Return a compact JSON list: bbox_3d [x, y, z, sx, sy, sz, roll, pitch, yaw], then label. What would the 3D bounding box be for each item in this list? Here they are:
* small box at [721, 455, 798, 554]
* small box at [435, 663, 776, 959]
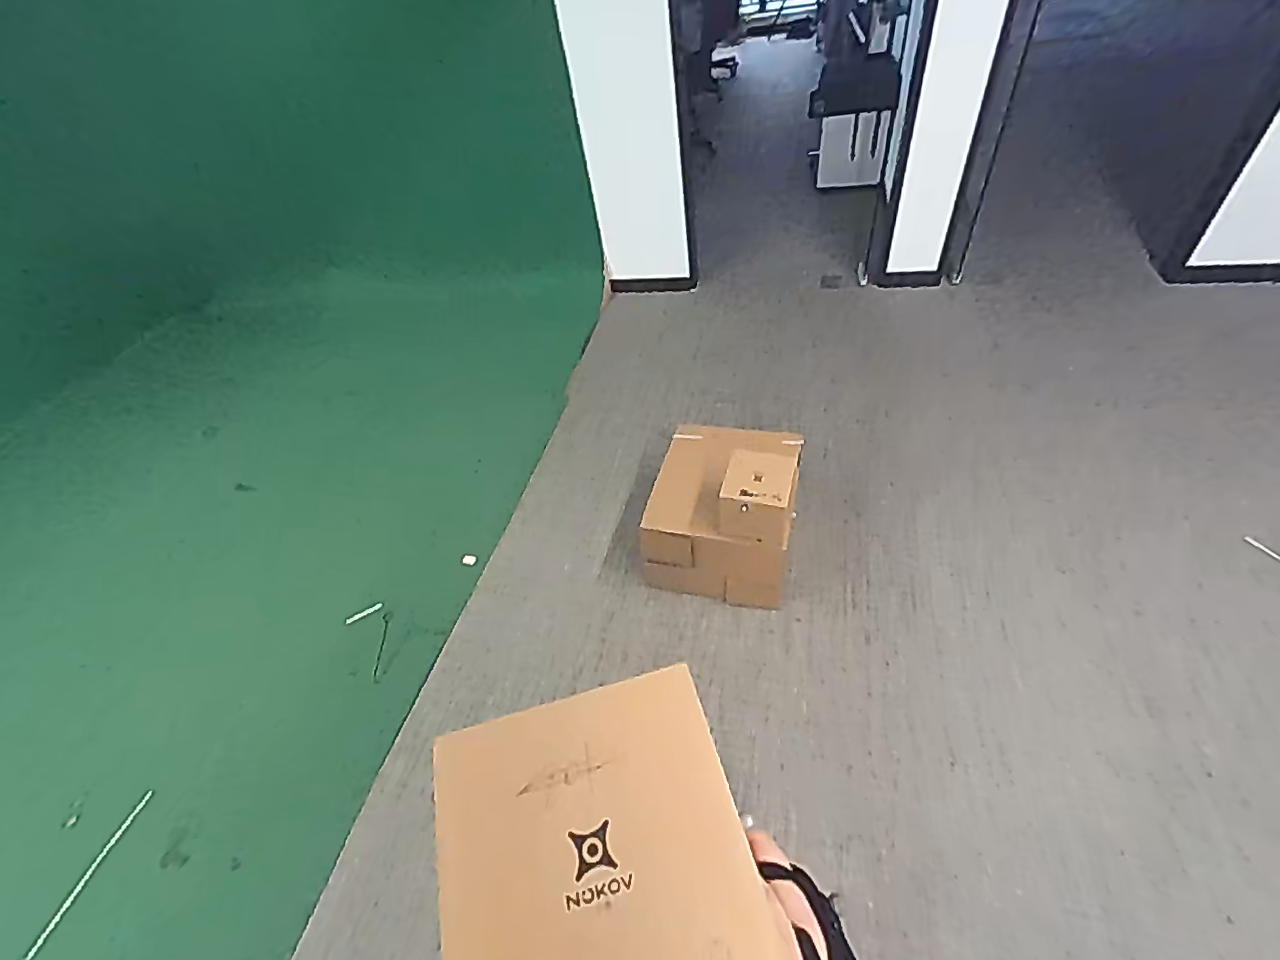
[{"bbox_3d":[0.310,0.063,1.407,0.168,0.176,0.179,9,47,19],"label":"small box"},{"bbox_3d":[-0.023,0.252,0.357,0.168,0.176,0.179,-14,51,-8],"label":"small box"}]
